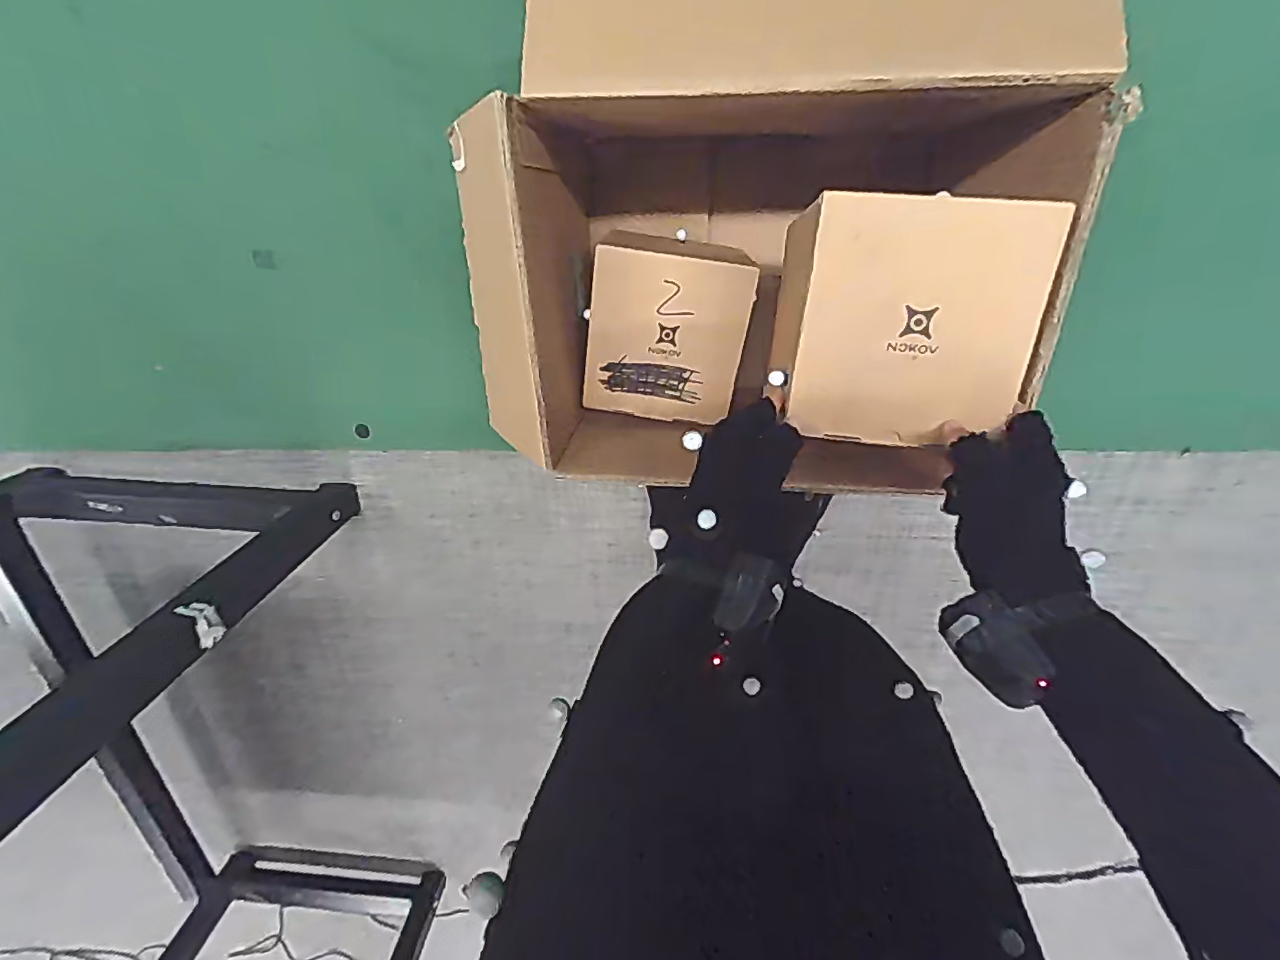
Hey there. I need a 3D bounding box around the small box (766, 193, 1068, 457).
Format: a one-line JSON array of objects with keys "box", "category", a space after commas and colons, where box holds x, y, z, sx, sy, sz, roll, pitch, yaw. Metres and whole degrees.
[{"box": [0.210, -0.134, 0.471, 0.168, 0.176, 0.179, 7, 110, 5], "category": "small box"}]
